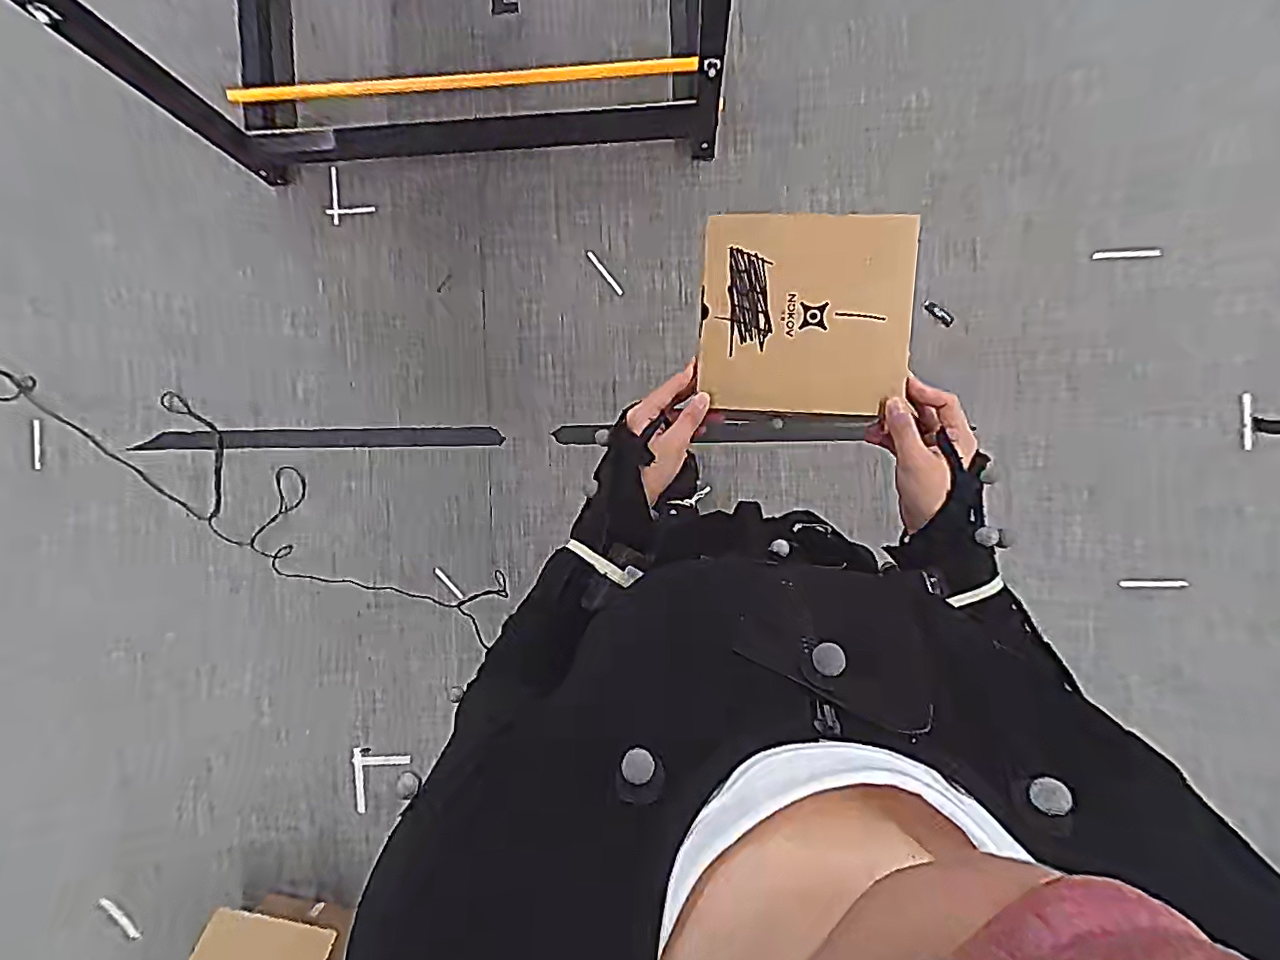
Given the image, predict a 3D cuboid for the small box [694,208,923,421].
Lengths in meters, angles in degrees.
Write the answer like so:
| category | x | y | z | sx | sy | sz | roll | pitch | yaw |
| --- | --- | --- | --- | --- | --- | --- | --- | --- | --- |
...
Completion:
| category | x | y | z | sx | sy | sz | roll | pitch | yaw |
| --- | --- | --- | --- | --- | --- | --- | --- | --- | --- |
| small box | 0.150 | -0.147 | 0.530 | 0.179 | 0.176 | 0.168 | 4 | 94 | 8 |
